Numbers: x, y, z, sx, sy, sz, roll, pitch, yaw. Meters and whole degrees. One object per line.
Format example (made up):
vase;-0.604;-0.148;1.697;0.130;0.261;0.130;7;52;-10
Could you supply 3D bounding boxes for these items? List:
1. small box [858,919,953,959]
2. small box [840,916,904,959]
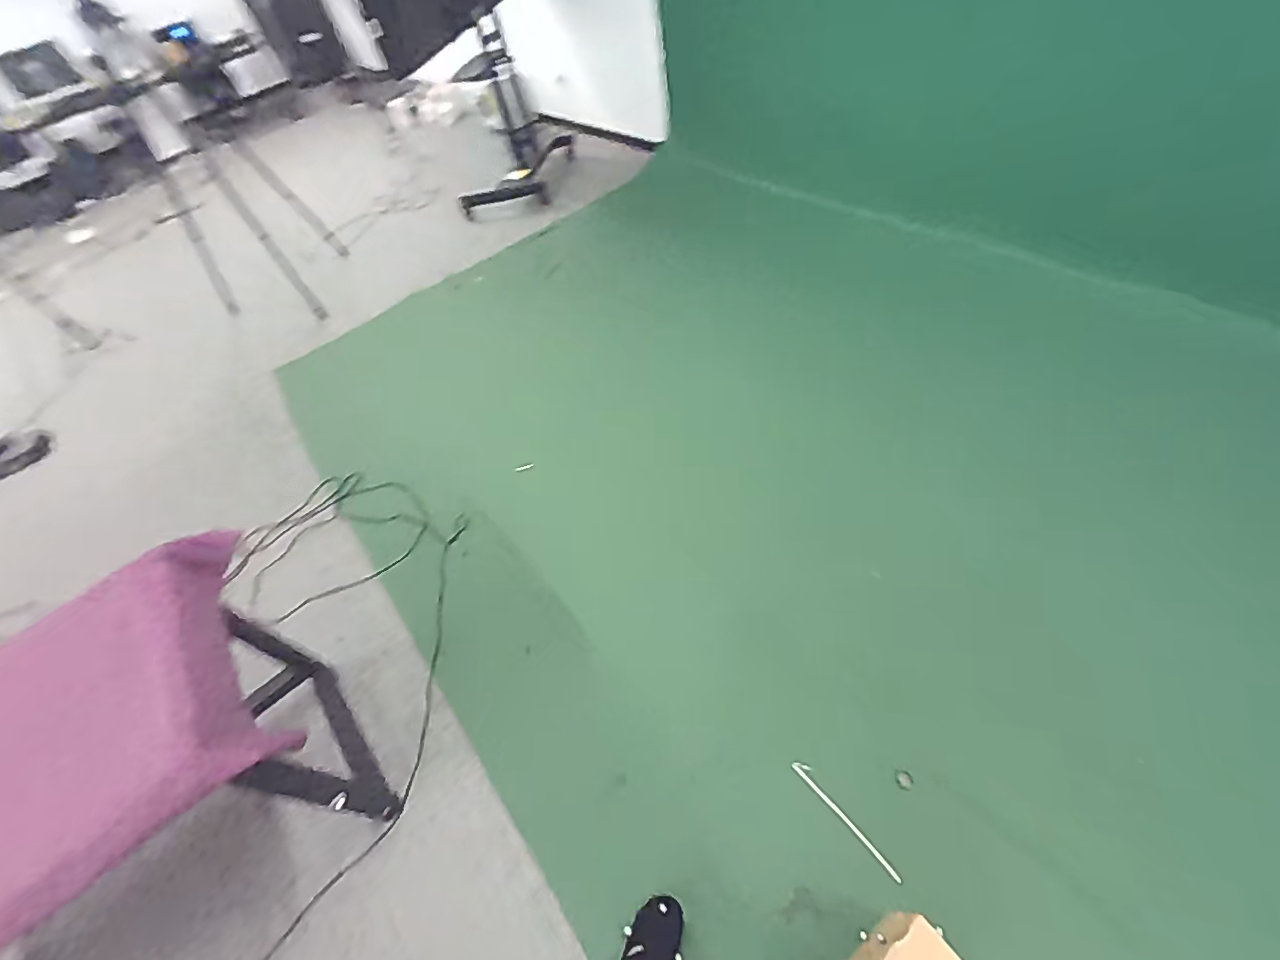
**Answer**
small box;0.483;0.904;0.935;0.168;0.176;0.179;-36;53;-16
small box;0.513;1.001;1.062;0.168;0.176;0.179;-35;54;-15
